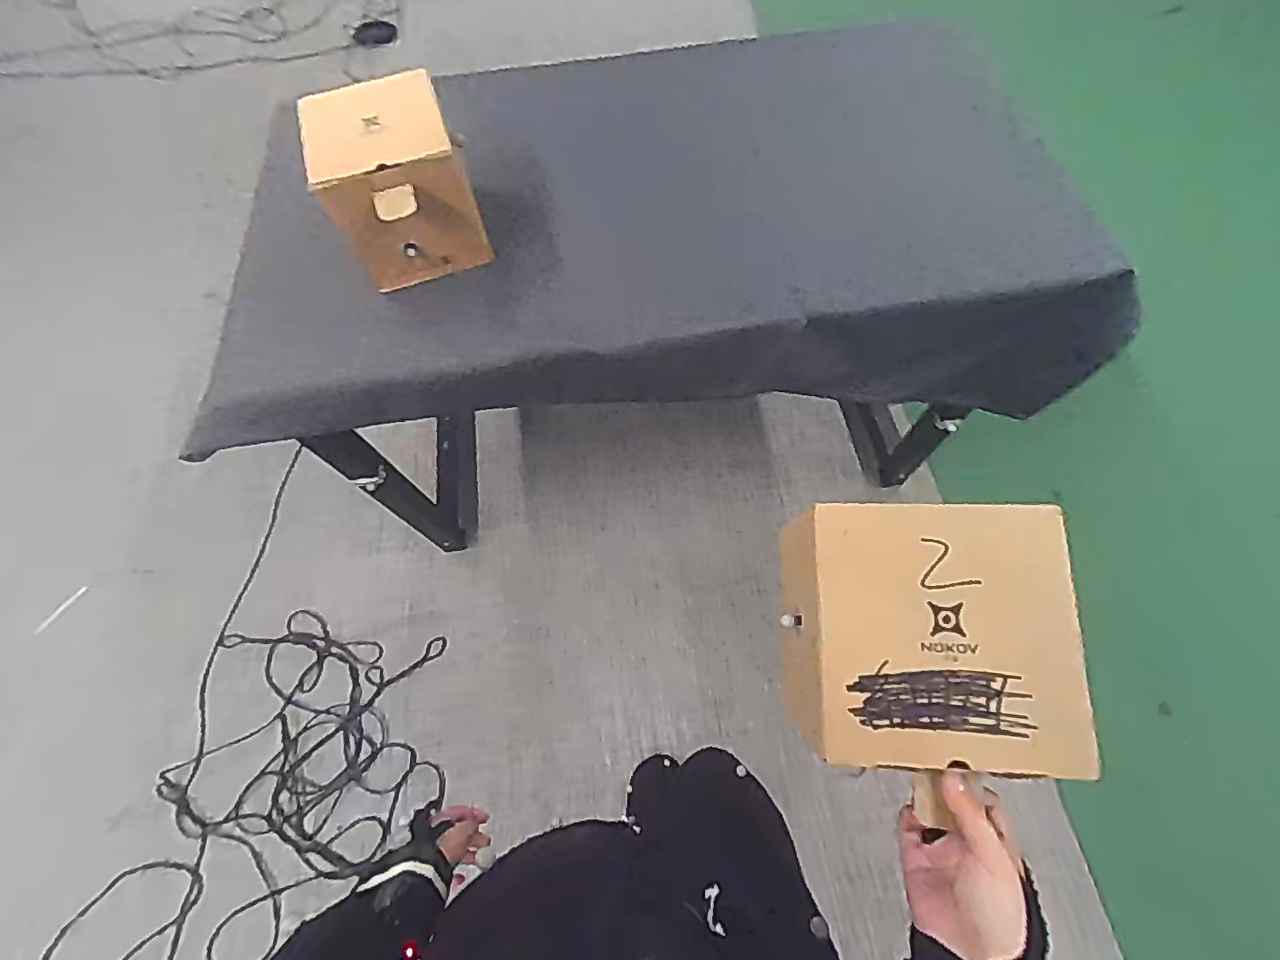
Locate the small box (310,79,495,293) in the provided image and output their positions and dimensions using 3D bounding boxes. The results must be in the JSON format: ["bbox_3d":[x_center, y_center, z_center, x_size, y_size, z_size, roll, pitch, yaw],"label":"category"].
[{"bbox_3d":[-0.310,-0.388,0.727,0.168,0.176,0.179,-18,66,-7],"label":"small box"}]
